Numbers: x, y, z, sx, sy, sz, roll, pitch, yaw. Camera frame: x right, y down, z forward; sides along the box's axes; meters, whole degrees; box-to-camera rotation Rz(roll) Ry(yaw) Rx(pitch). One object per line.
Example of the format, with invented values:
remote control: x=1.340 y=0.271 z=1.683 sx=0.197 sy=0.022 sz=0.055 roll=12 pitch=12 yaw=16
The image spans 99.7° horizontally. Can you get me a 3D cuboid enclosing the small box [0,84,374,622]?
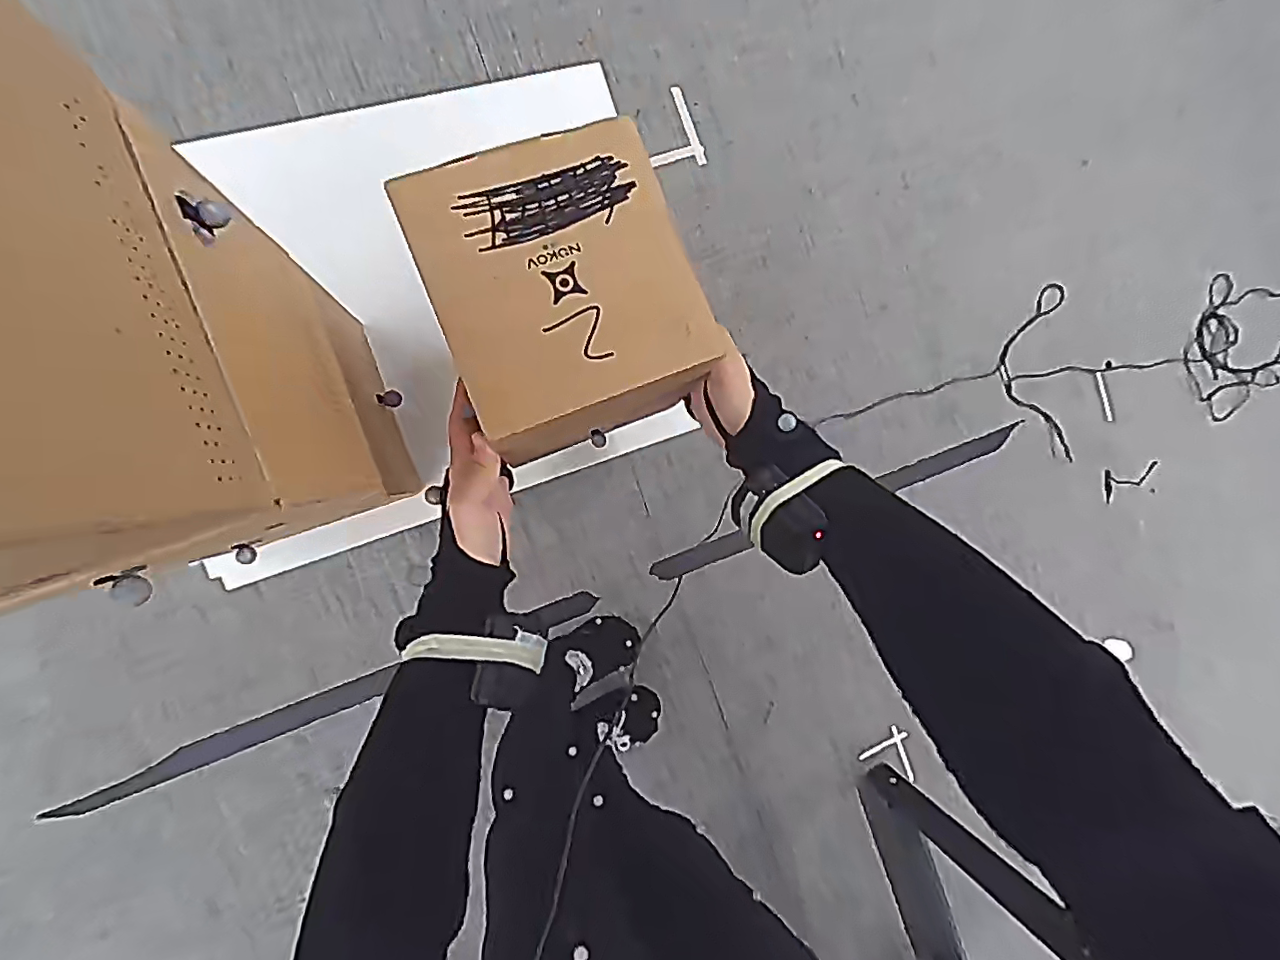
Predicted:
small box: x=-0.261 y=-0.040 z=0.270 sx=0.168 sy=0.176 sz=0.179 roll=-21 pitch=94 yaw=-11

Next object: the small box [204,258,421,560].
small box: x=-0.295 y=-0.042 z=0.428 sx=0.168 sy=0.176 sz=0.179 roll=-19 pitch=93 yaw=-10

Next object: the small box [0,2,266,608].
small box: x=-0.227 y=-0.041 z=0.111 sx=0.168 sy=0.176 sz=0.179 roll=-21 pitch=95 yaw=-10
